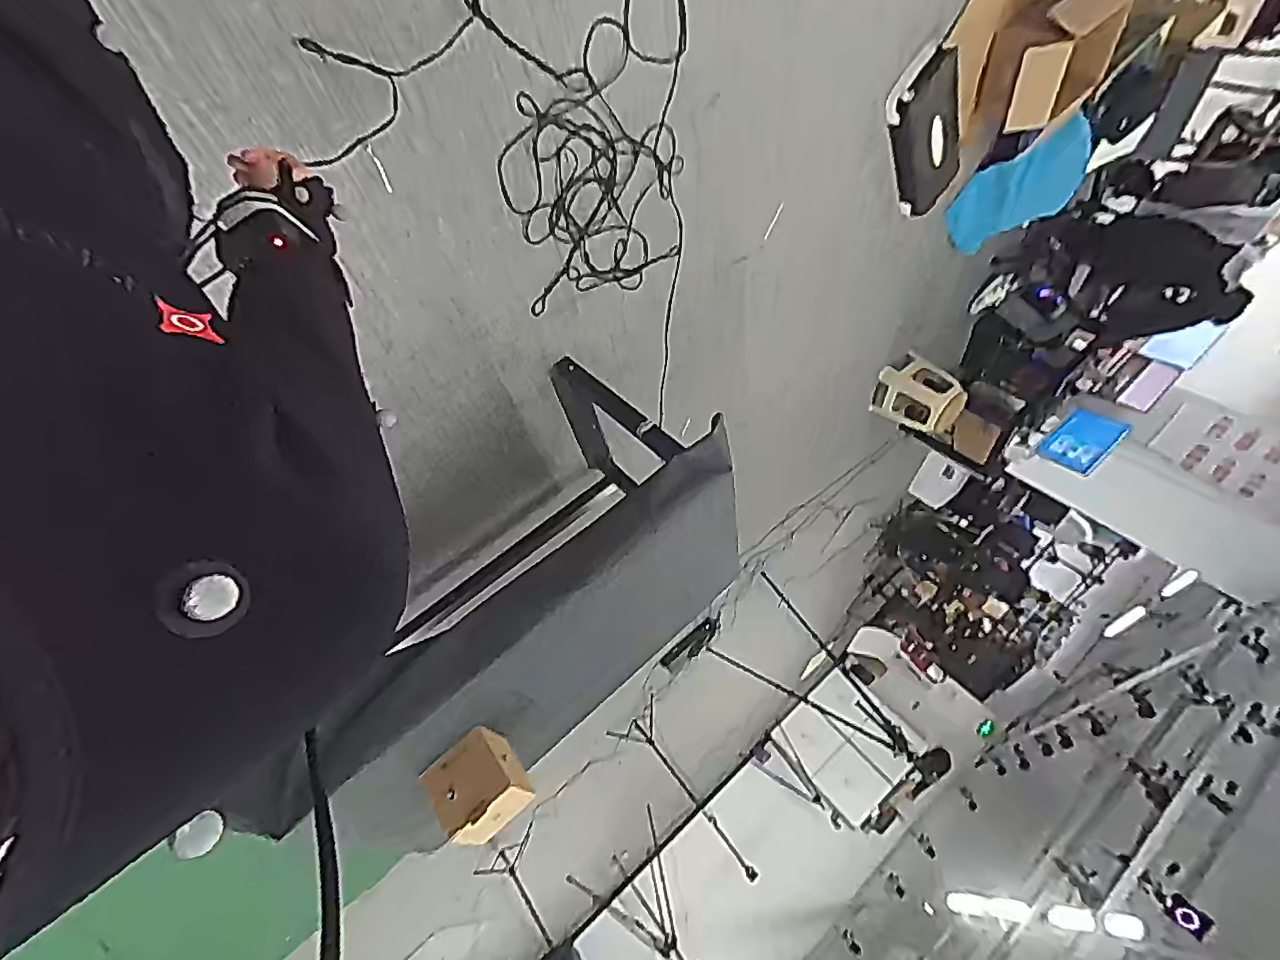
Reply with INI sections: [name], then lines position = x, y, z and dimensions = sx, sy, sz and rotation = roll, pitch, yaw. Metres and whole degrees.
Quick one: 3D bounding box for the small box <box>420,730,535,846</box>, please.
[small box]
position = -0.381, 0.715, 1.263
dimensions = 0.168, 0.176, 0.179
rotation = -38, 147, -14
